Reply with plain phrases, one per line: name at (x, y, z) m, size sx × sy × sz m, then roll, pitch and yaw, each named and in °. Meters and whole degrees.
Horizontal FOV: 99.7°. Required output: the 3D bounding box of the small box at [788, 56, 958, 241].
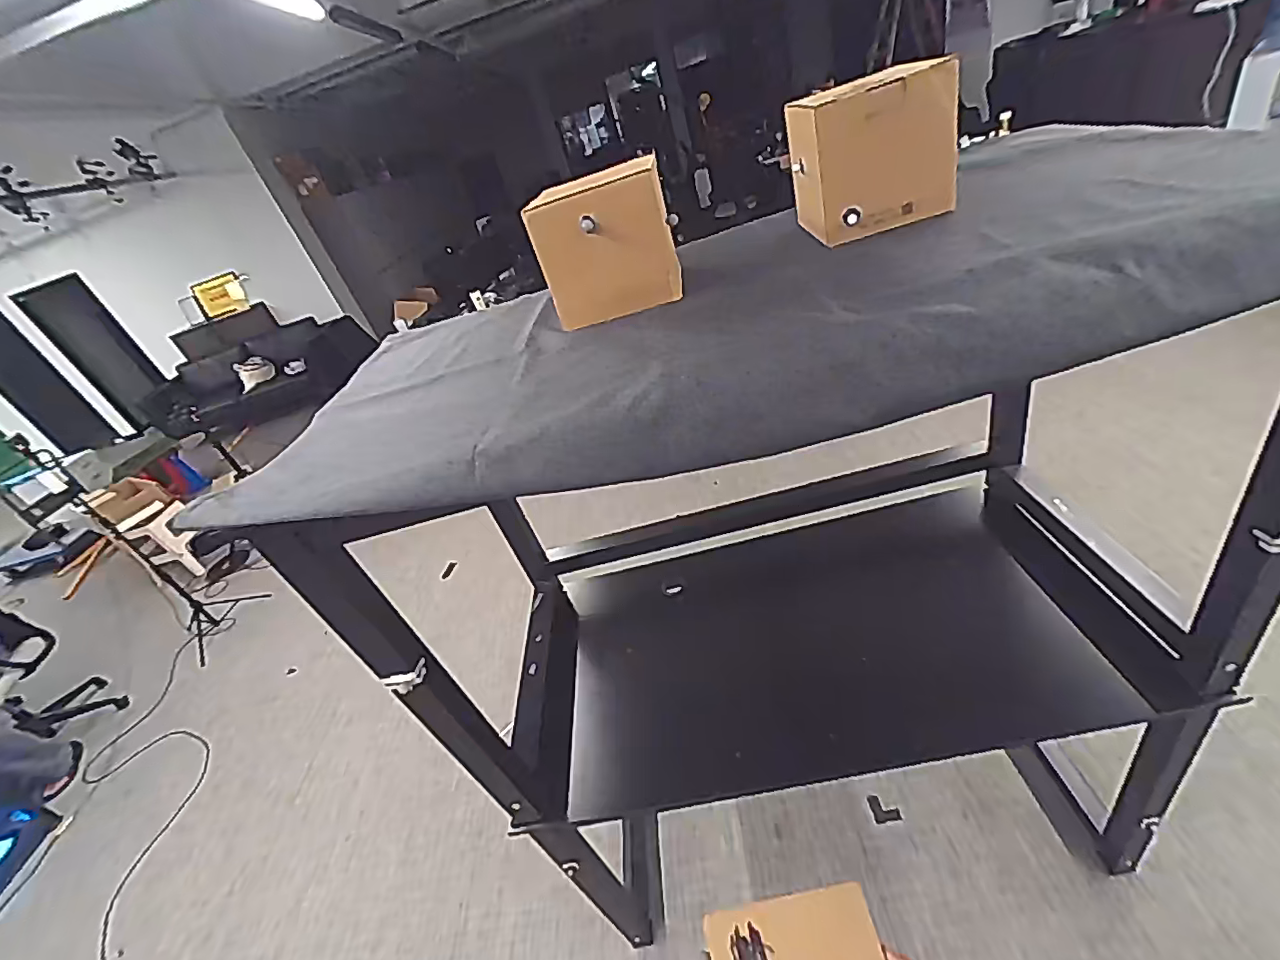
small box at (0.312, -0.444, 0.739) m, size 0.168 × 0.176 × 0.179 m, roll -13°, pitch 33°, yaw 10°

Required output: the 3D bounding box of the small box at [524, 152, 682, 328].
small box at (-0.039, -0.342, 0.774) m, size 0.179 × 0.176 × 0.168 m, roll -12°, pitch 34°, yaw 12°
